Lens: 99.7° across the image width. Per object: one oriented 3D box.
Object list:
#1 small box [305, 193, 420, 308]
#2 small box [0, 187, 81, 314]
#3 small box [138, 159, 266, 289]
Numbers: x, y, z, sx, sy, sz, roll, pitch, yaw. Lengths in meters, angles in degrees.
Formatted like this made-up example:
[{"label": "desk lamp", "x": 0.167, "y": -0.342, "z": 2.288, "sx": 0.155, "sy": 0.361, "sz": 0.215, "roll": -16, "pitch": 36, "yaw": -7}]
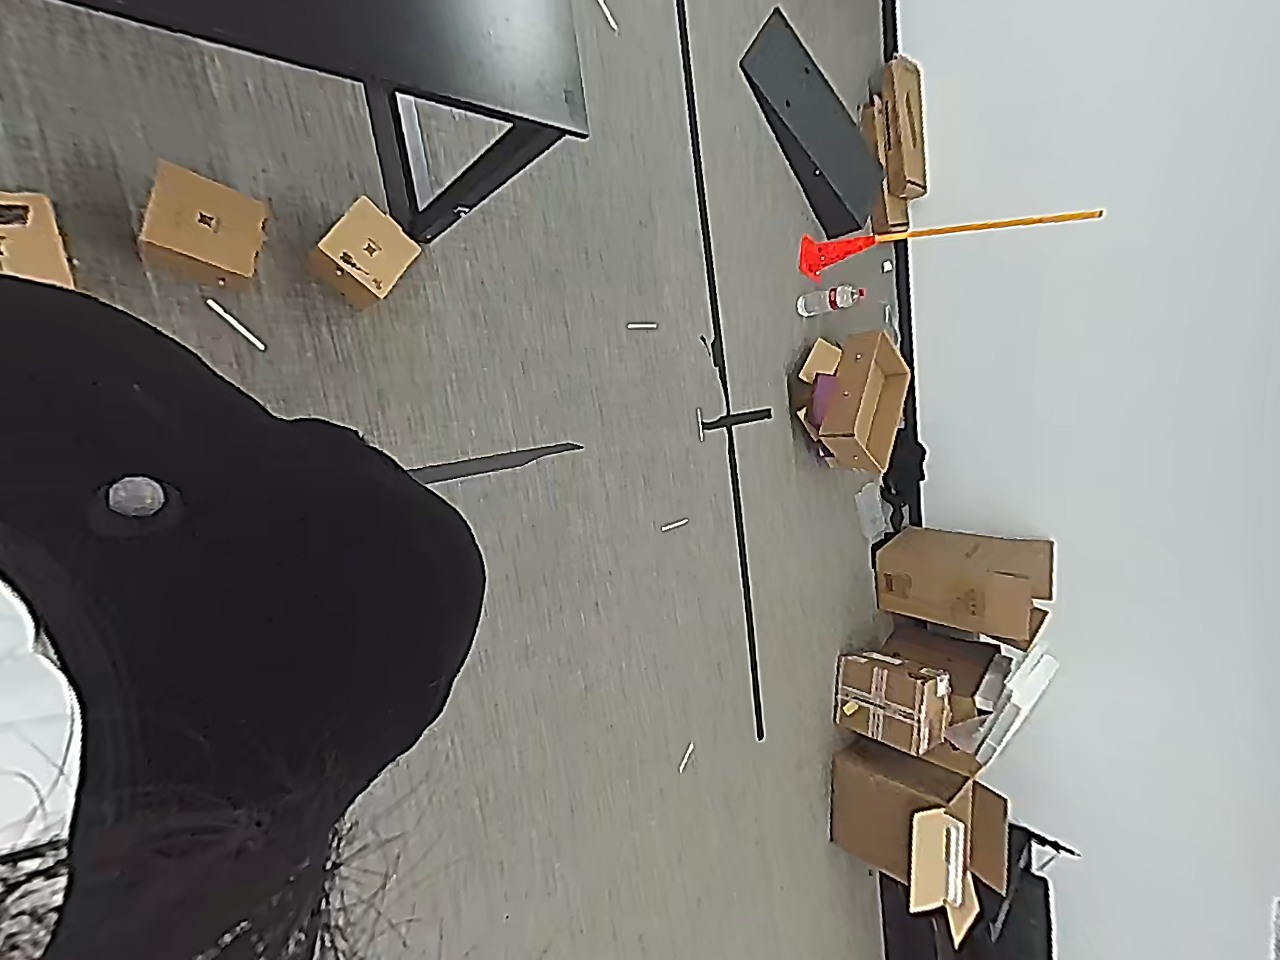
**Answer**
[{"label": "small box", "x": -0.684, "y": -0.553, "z": 1.323, "sx": 0.168, "sy": 0.176, "sz": 0.179, "roll": 41, "pitch": 66, "yaw": -35}, {"label": "small box", "x": -1.114, "y": -0.393, "z": 0.940, "sx": 0.168, "sy": 0.176, "sz": 0.179, "roll": -16, "pitch": 104, "yaw": -41}, {"label": "small box", "x": -0.908, "y": -0.516, "z": 1.124, "sx": 0.179, "sy": 0.176, "sz": 0.168, "roll": 13, "pitch": 83, "yaw": -41}]
